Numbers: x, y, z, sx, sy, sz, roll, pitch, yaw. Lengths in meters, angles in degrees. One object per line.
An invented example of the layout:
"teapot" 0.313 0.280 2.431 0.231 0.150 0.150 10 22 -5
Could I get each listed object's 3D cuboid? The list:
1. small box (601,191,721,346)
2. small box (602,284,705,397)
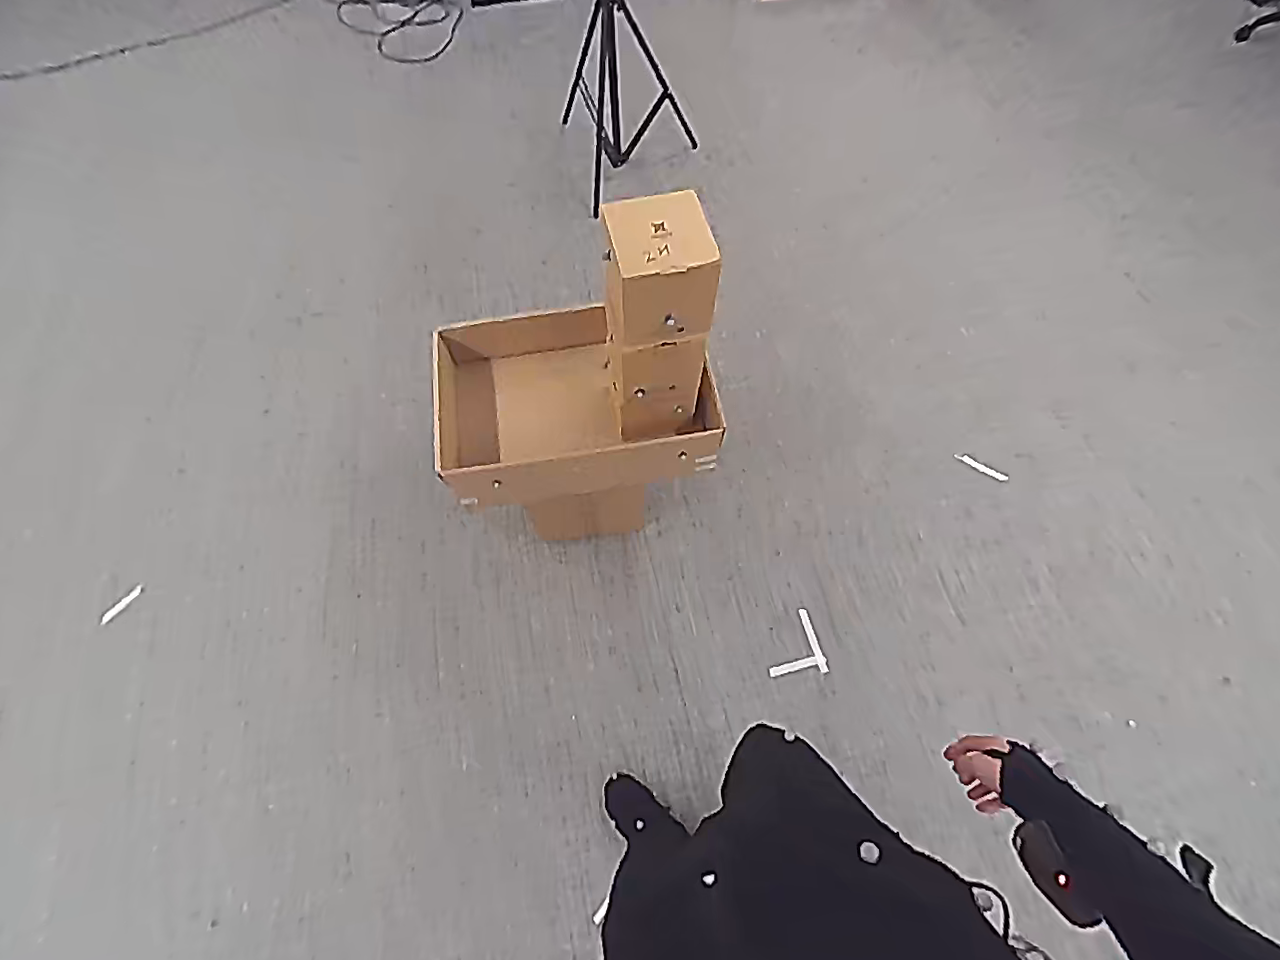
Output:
"small box" 0.030 -0.366 0.949 0.168 0.176 0.179 -13 67 -5
"small box" 0.025 -0.286 1.093 0.168 0.176 0.179 -12 66 -6
